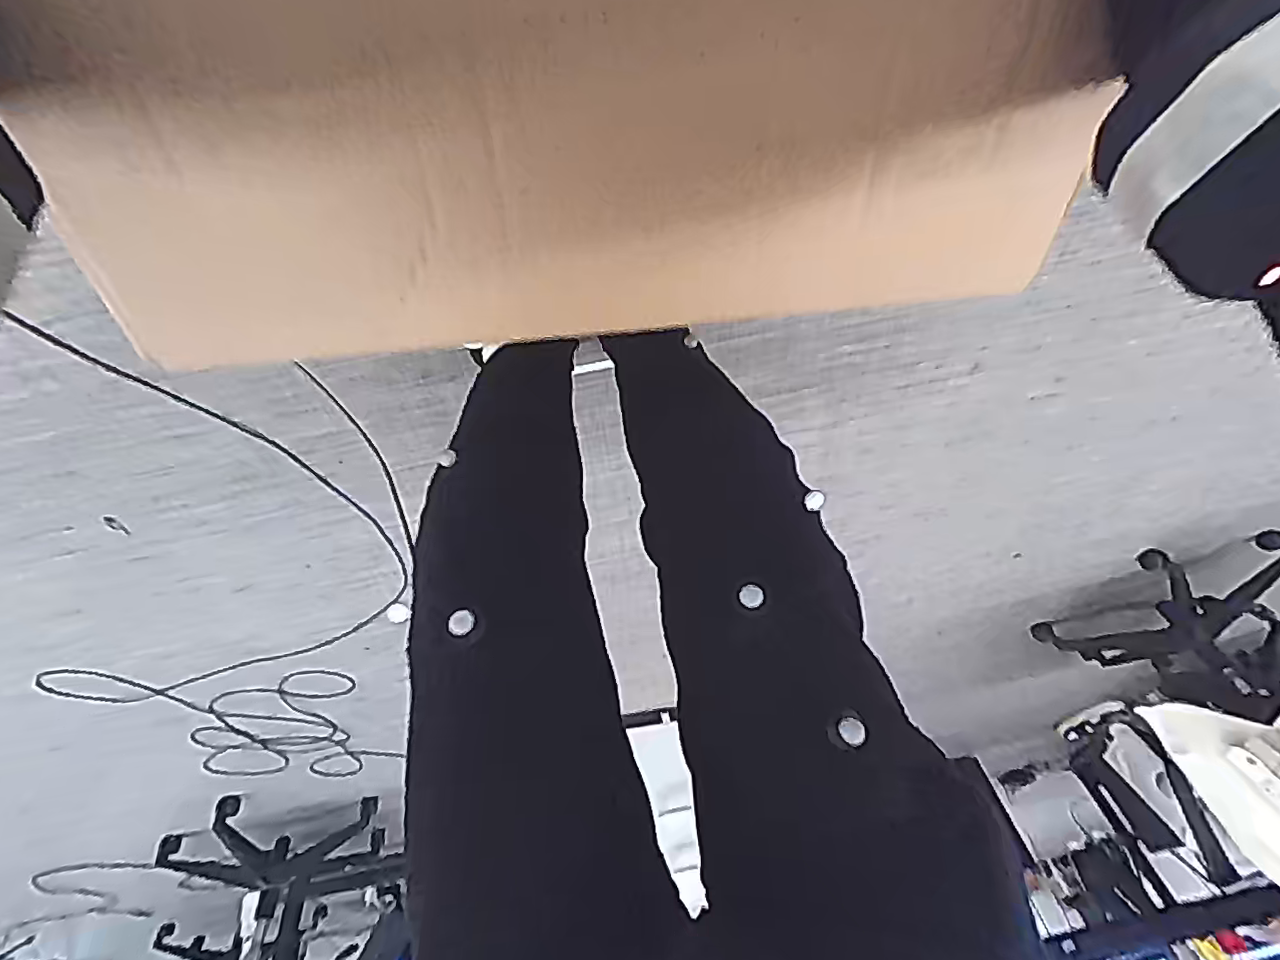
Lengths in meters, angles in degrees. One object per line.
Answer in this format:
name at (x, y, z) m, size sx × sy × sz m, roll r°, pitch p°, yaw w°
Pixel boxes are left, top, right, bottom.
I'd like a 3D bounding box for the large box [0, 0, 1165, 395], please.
large box at (-0.030, -0.272, 0.270) m, size 0.408 × 0.320 × 0.320 m, roll -7°, pitch 132°, yaw -7°
